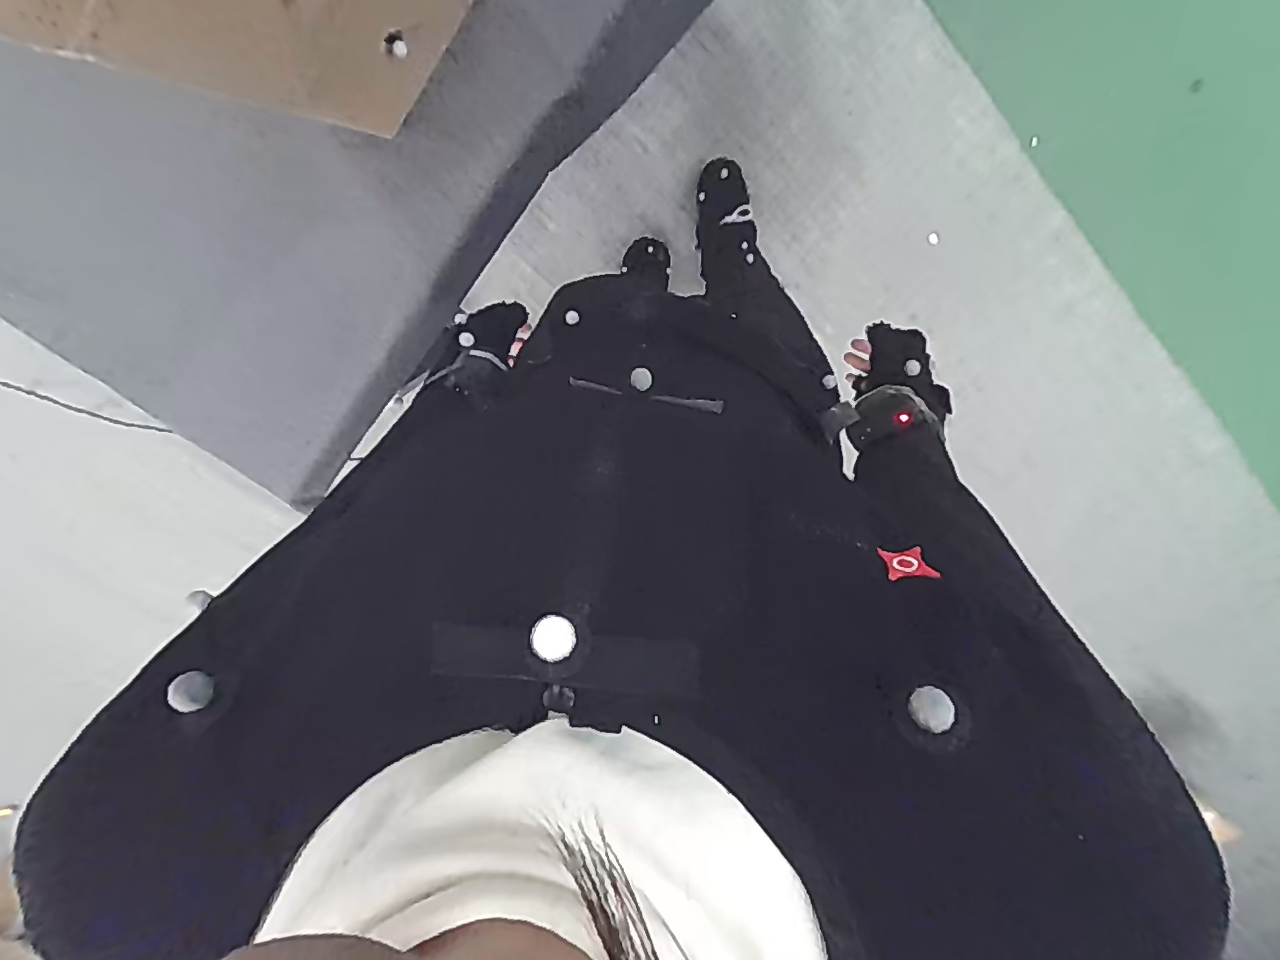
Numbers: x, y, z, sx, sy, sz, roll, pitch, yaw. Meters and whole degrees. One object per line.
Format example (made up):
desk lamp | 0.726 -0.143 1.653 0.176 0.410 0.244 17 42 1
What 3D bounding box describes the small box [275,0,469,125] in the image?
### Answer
small box | -0.252 -0.421 0.421 0.168 0.176 0.179 40 113 -15
